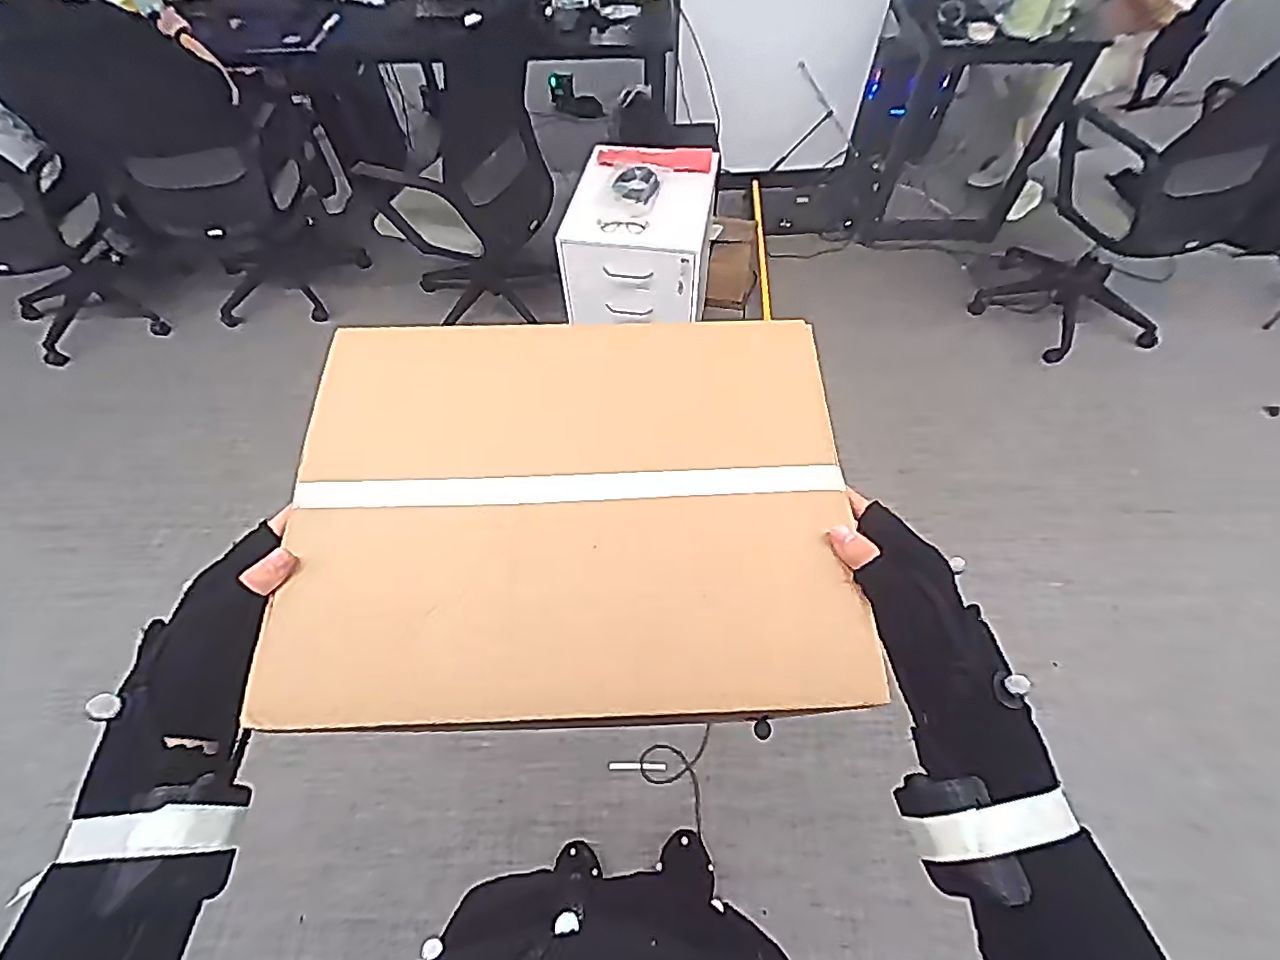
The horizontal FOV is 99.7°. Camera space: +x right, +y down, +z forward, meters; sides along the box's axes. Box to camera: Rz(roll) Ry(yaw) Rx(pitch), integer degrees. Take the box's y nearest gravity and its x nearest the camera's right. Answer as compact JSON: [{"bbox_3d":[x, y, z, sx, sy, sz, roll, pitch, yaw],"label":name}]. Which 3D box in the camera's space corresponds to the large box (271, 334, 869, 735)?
[{"bbox_3d":[-0.050,0.077,0.551,0.408,0.320,0.320,-2,65,-1],"label":"large box"}]
